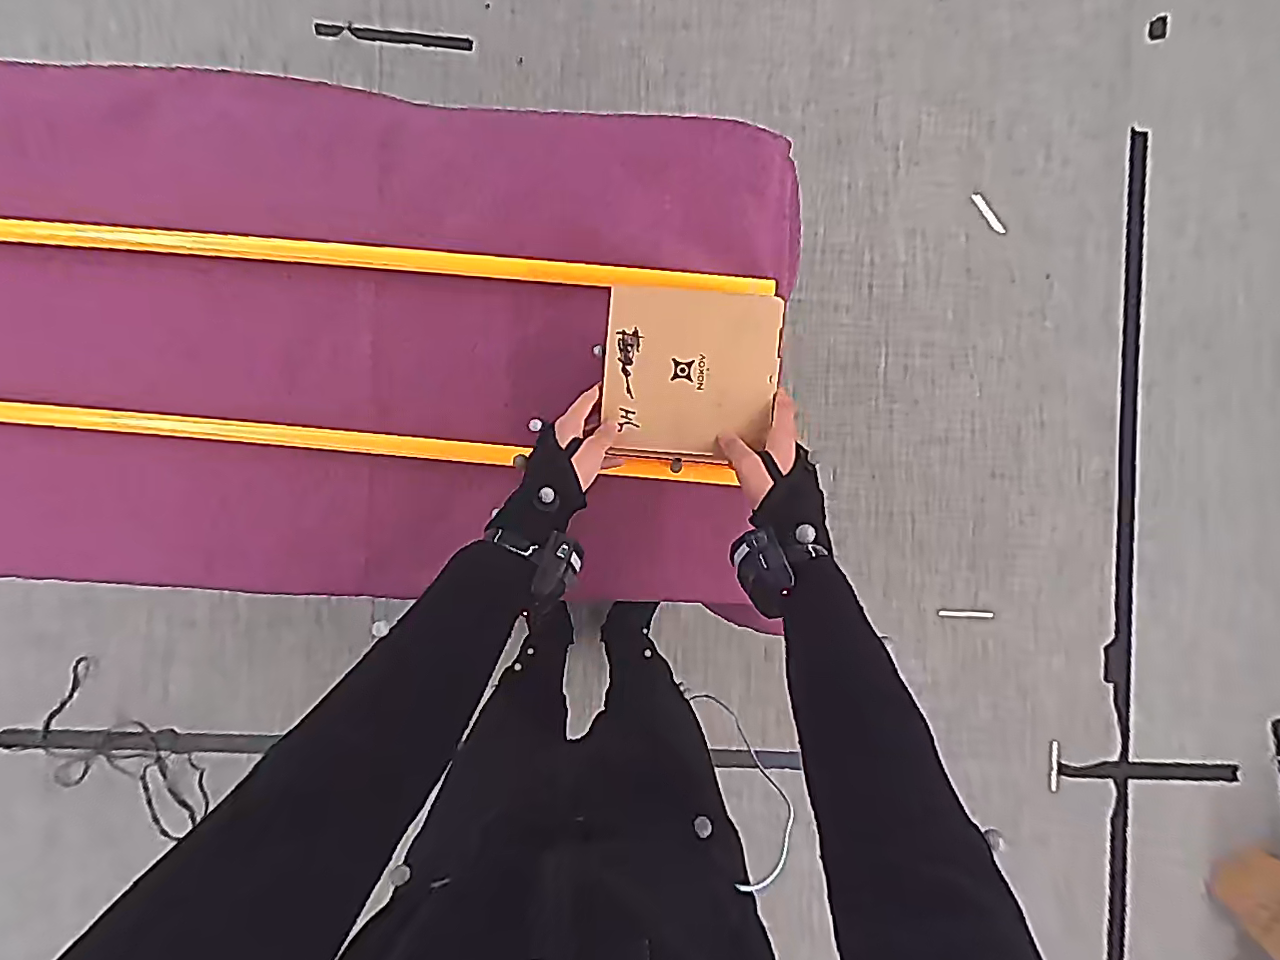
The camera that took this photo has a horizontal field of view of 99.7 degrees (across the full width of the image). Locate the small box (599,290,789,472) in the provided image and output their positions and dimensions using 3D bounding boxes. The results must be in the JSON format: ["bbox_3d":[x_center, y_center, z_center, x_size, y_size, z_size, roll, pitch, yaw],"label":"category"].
[{"bbox_3d":[0.053,-0.100,0.615,0.179,0.176,0.168,6,90,0],"label":"small box"}]
